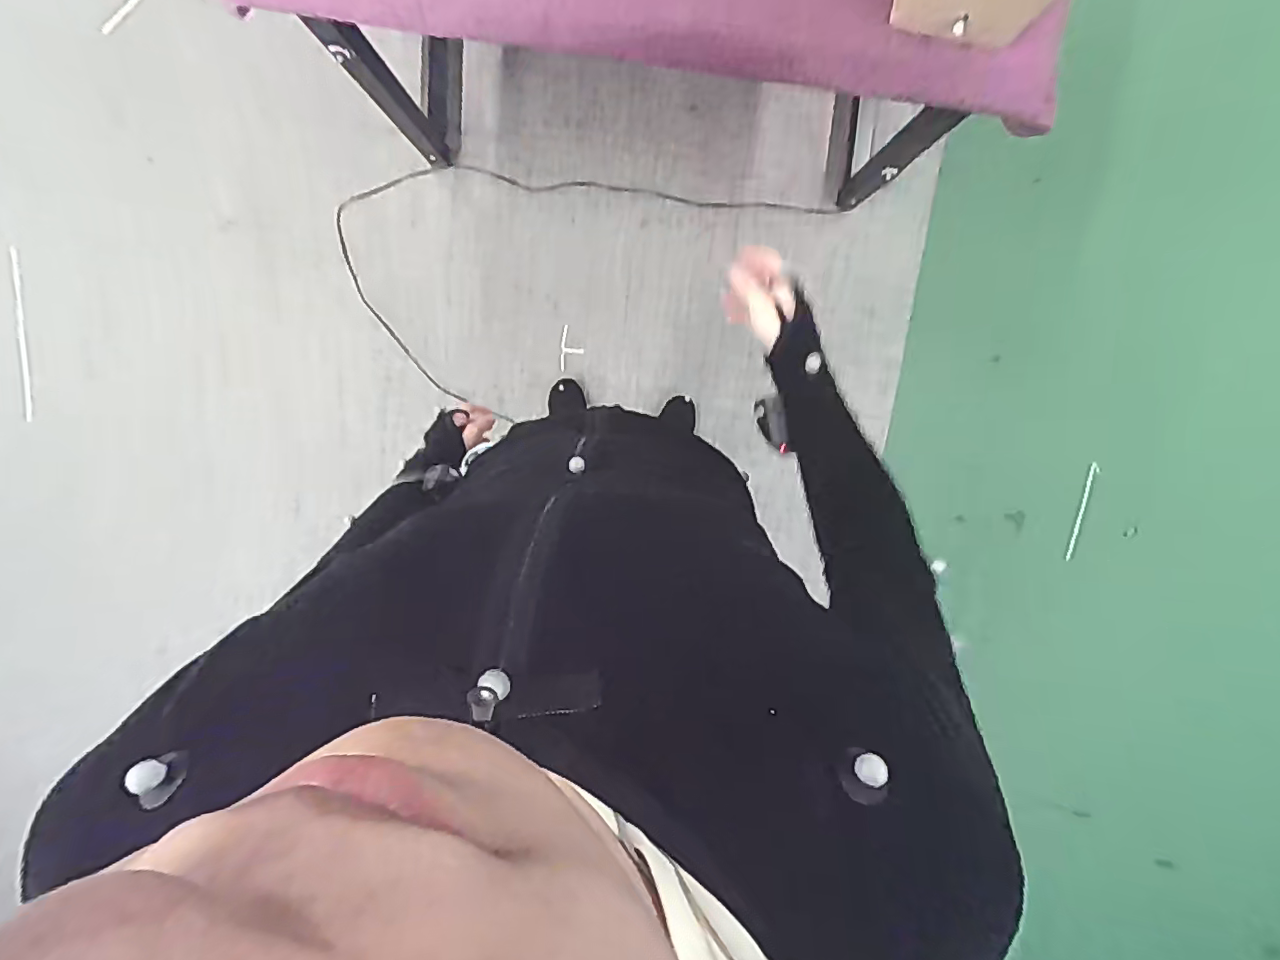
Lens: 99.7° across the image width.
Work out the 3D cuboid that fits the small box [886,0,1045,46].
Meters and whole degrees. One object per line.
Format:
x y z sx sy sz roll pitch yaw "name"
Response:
0.461 -0.719 0.710 0.179 0.176 0.168 10 98 -3 "small box"
